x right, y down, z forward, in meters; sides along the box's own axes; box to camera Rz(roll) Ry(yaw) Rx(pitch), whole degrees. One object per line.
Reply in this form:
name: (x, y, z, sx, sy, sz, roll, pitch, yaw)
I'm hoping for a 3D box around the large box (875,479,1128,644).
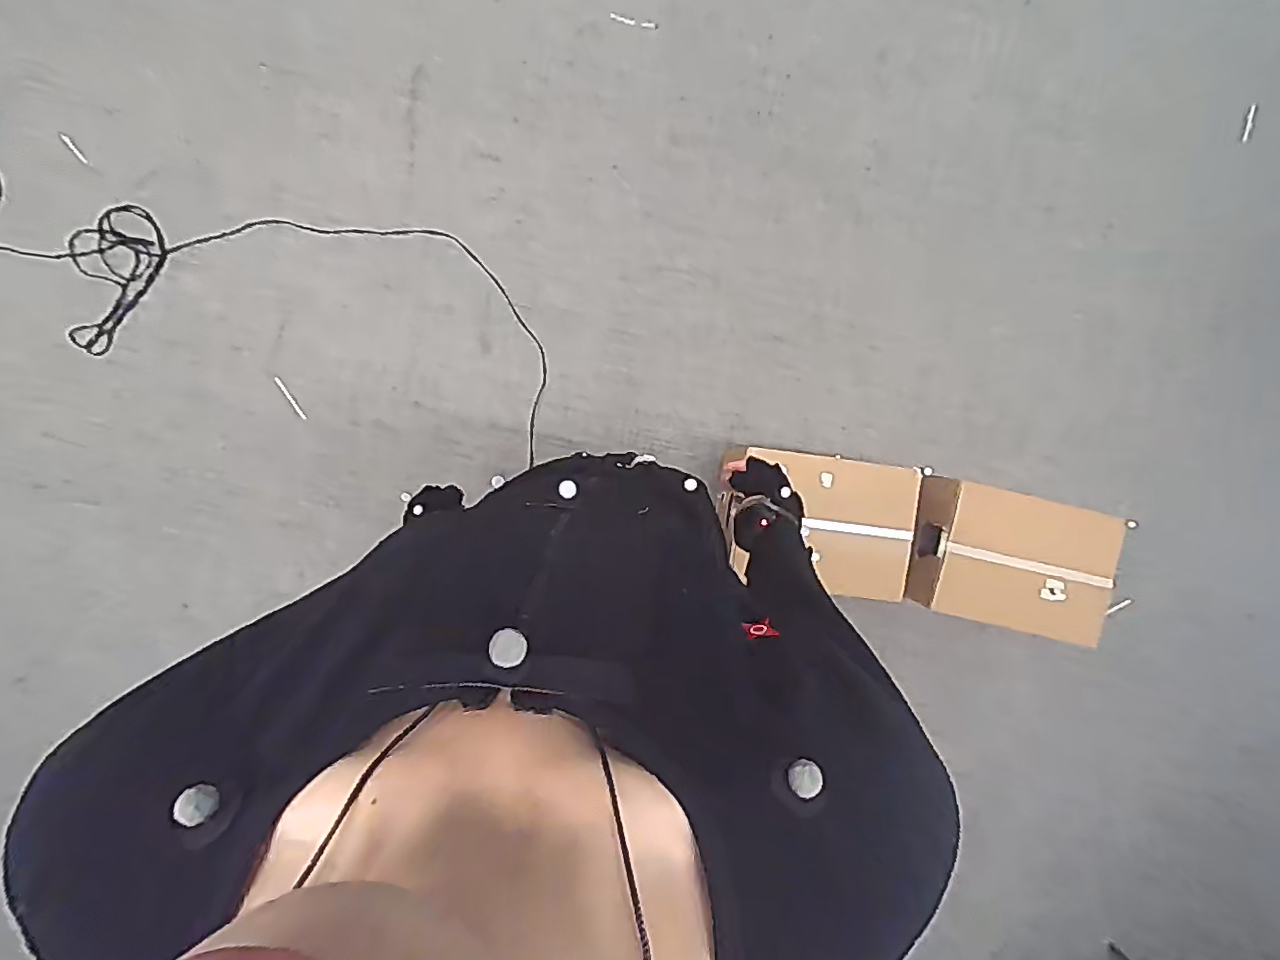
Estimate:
large box: (0.883, 0.185, 1.376, 0.408, 0.320, 0.320, 13, 92, -2)
